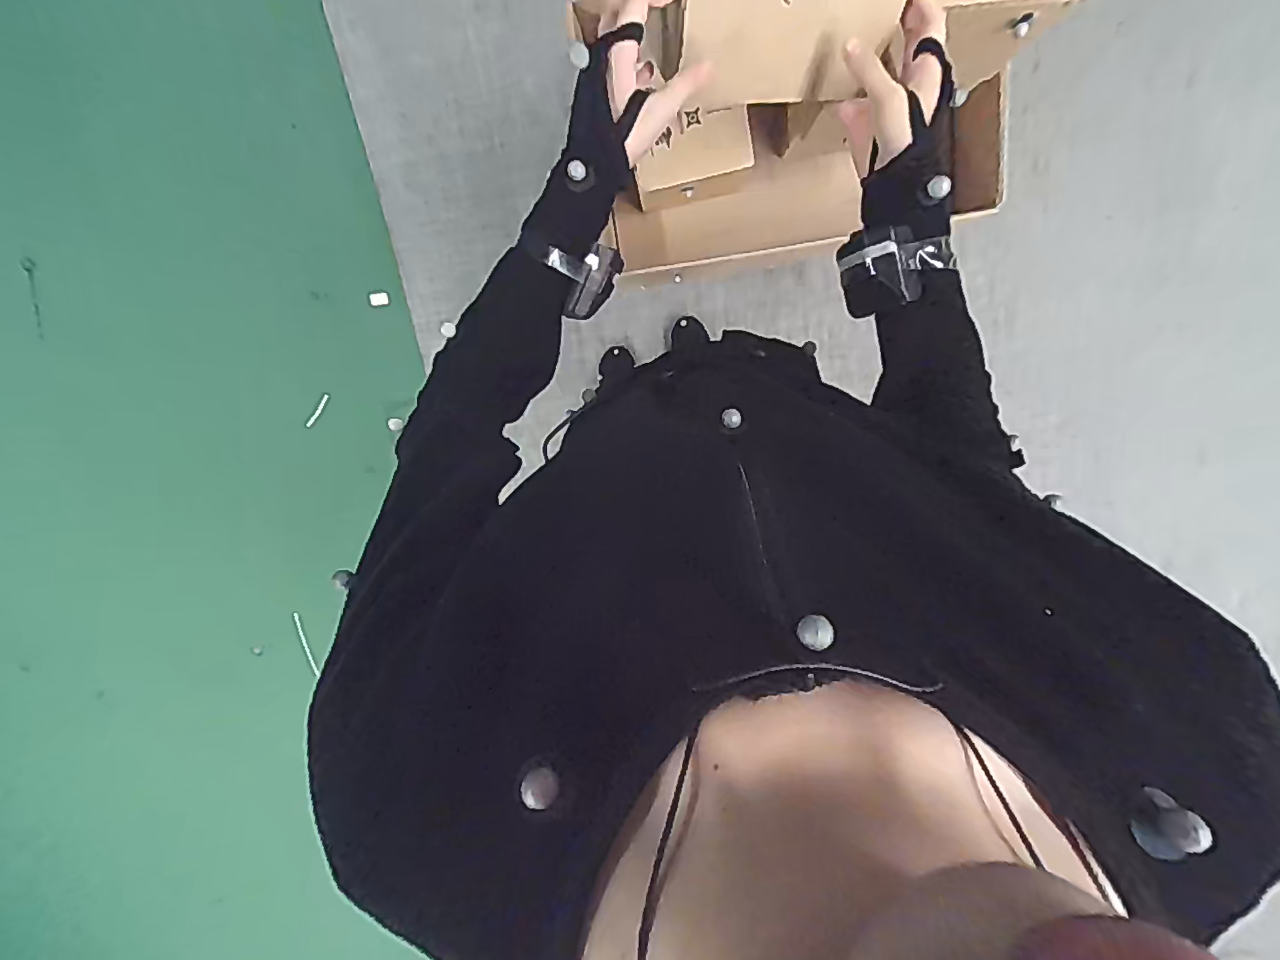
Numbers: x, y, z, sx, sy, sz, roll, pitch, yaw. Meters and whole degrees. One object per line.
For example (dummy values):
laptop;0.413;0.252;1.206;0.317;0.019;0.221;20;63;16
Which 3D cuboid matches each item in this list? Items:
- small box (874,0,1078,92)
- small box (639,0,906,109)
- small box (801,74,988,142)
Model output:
small box;0.295;-0.498;0.514;0.179;0.176;0.168;-2;106;6
small box;0.101;-0.420;0.420;0.179;0.176;0.168;-6;148;-6
small box;0.305;-0.543;0.669;0.179;0.176;0.168;-3;106;7
